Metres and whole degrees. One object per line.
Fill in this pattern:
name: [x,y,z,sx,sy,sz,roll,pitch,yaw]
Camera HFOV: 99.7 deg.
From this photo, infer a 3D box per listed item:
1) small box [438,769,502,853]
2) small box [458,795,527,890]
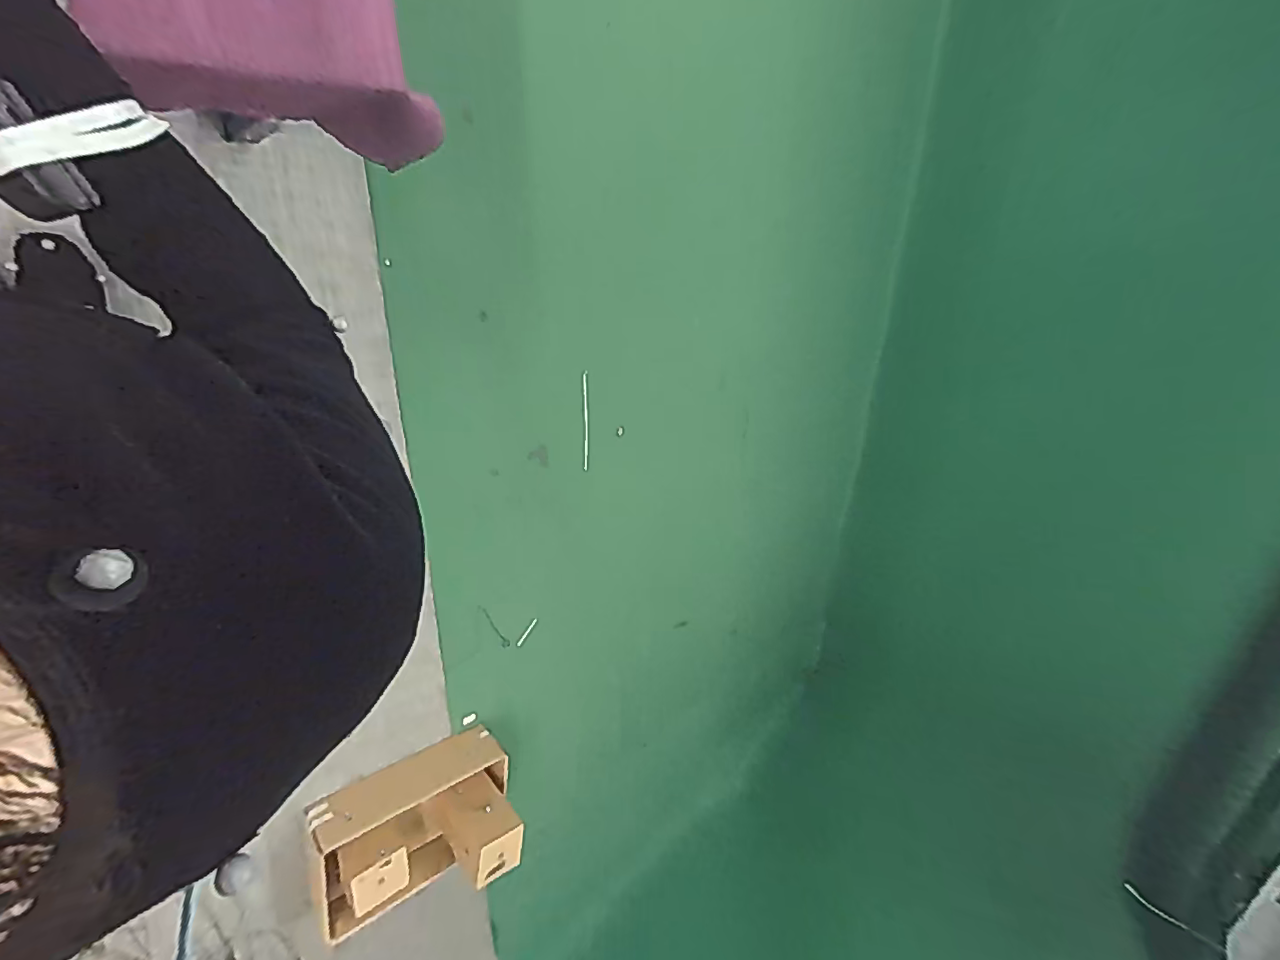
small box: [-0.624,1.197,1.978,0.168,0.176,0.179,-7,112,-43]
small box: [-0.513,1.242,1.866,0.168,0.176,0.179,-6,110,-44]
